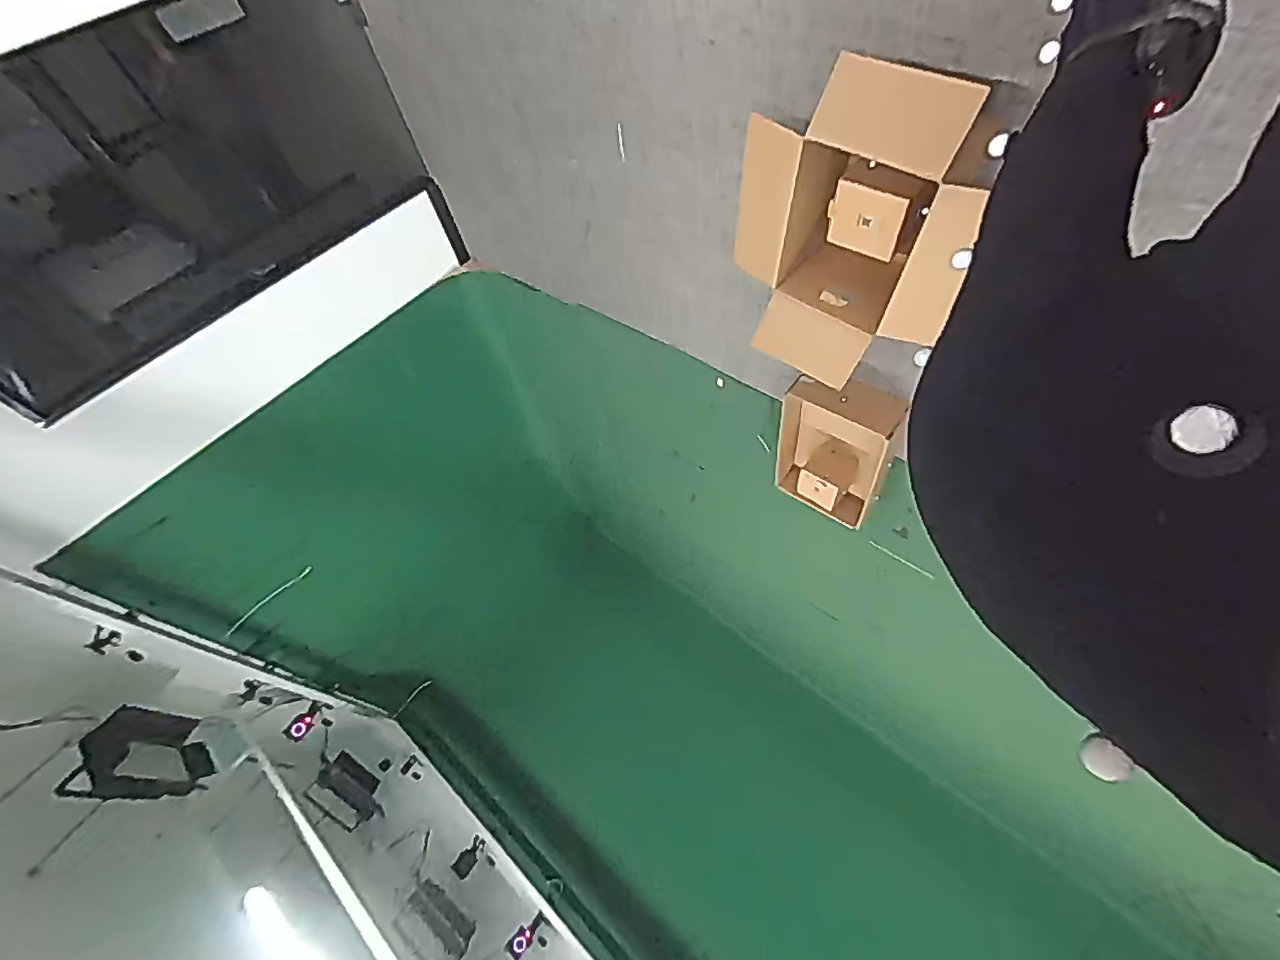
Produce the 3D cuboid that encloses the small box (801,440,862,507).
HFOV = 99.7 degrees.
[{"bbox_3d":[0.783,-0.030,2.208,0.168,0.176,0.179,34,157,27],"label":"small box"}]
